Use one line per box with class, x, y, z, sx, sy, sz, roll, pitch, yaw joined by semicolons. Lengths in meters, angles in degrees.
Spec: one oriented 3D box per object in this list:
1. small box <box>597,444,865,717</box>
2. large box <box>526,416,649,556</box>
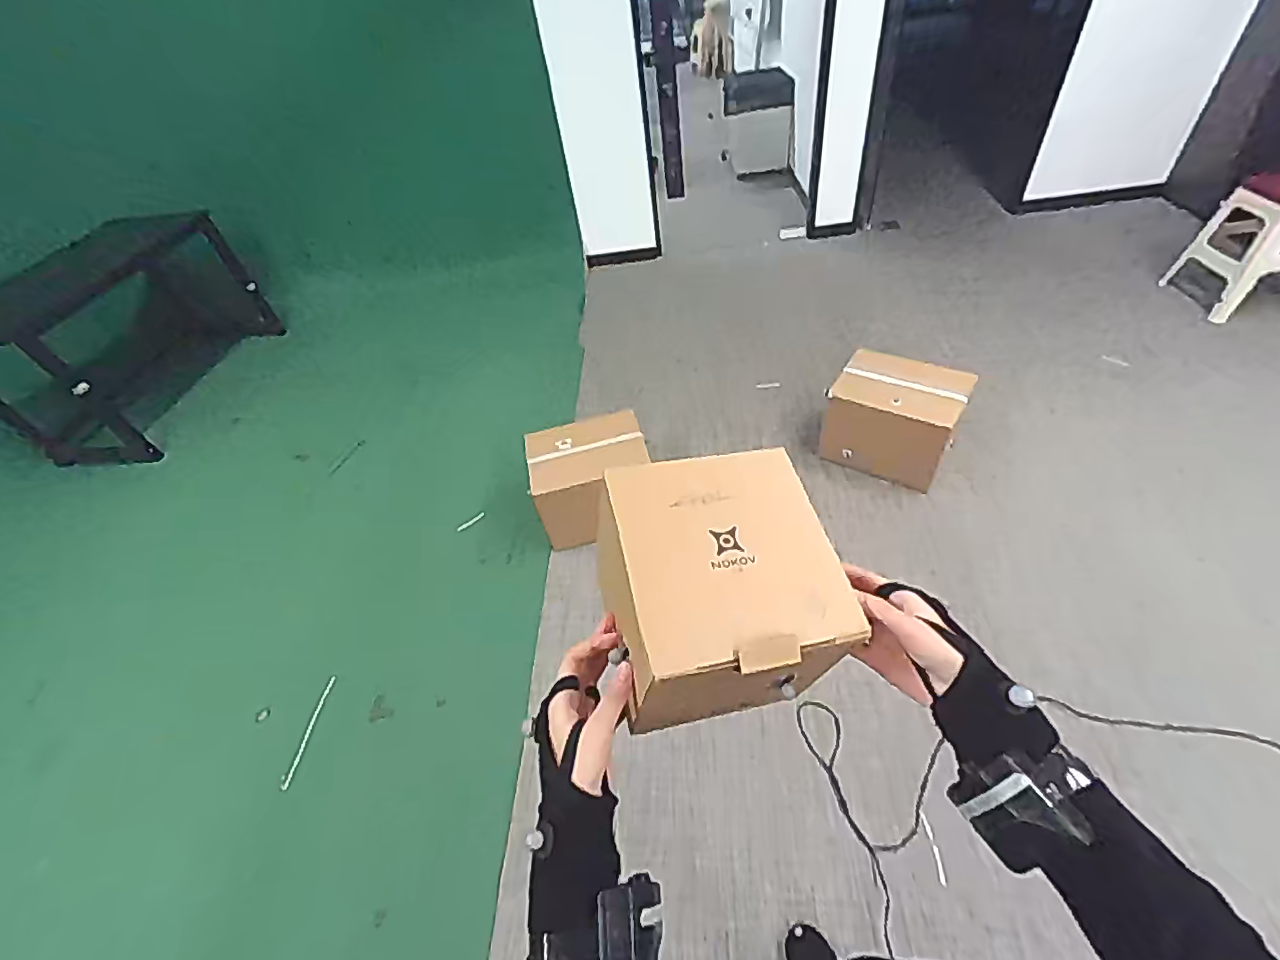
small box;0.057;0.094;0.475;0.168;0.176;0.179;-7;54;-12
large box;-0.161;0.023;1.940;0.408;0.320;0.320;-15;44;-3
